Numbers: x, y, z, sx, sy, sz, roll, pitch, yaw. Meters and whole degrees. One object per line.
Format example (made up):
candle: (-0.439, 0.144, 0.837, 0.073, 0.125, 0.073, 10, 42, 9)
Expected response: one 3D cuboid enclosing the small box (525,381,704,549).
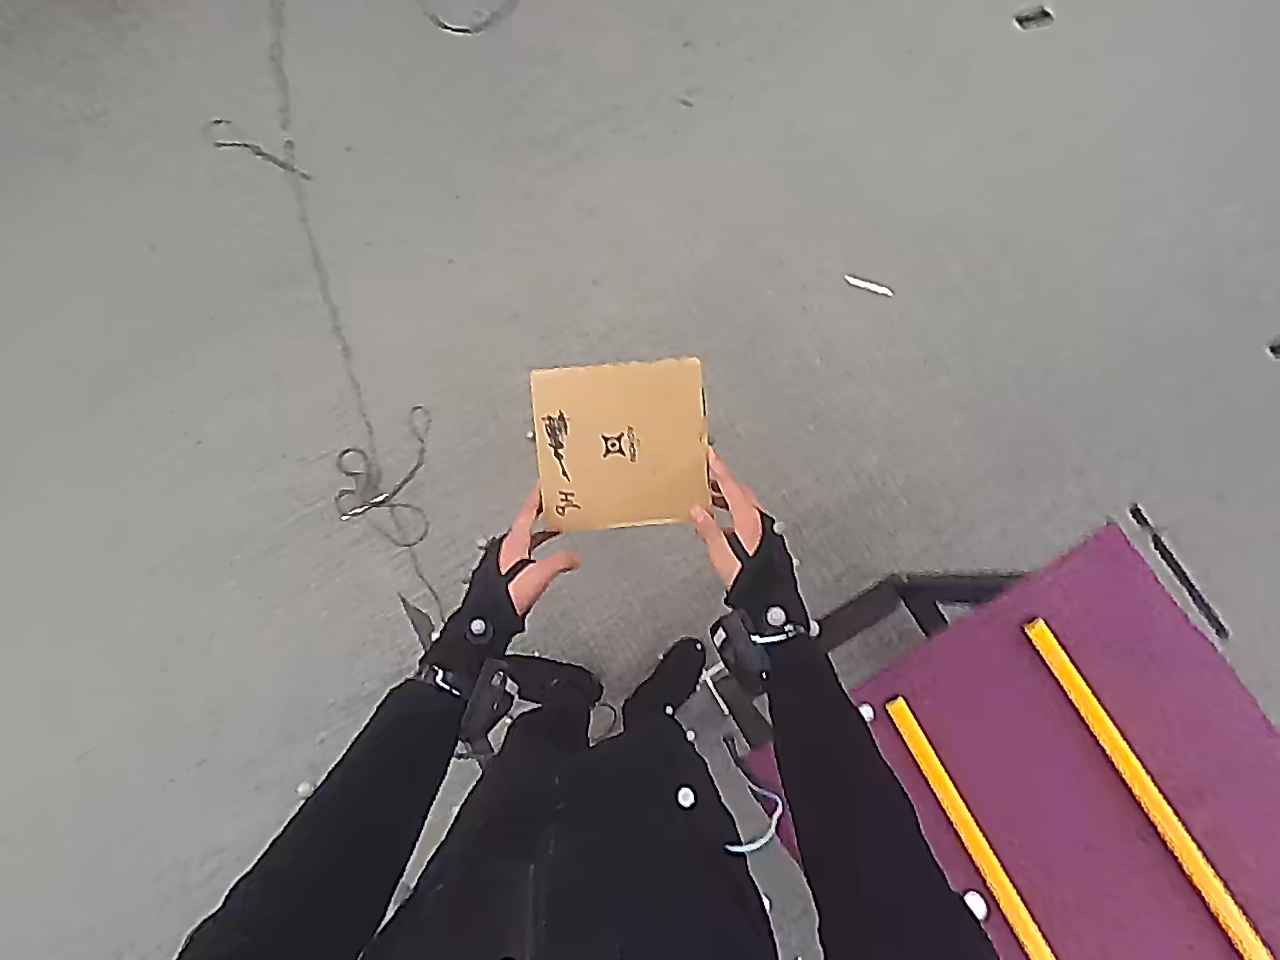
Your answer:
small box: (-0.026, -0.021, 0.634, 0.179, 0.176, 0.168, -5, 94, 1)
